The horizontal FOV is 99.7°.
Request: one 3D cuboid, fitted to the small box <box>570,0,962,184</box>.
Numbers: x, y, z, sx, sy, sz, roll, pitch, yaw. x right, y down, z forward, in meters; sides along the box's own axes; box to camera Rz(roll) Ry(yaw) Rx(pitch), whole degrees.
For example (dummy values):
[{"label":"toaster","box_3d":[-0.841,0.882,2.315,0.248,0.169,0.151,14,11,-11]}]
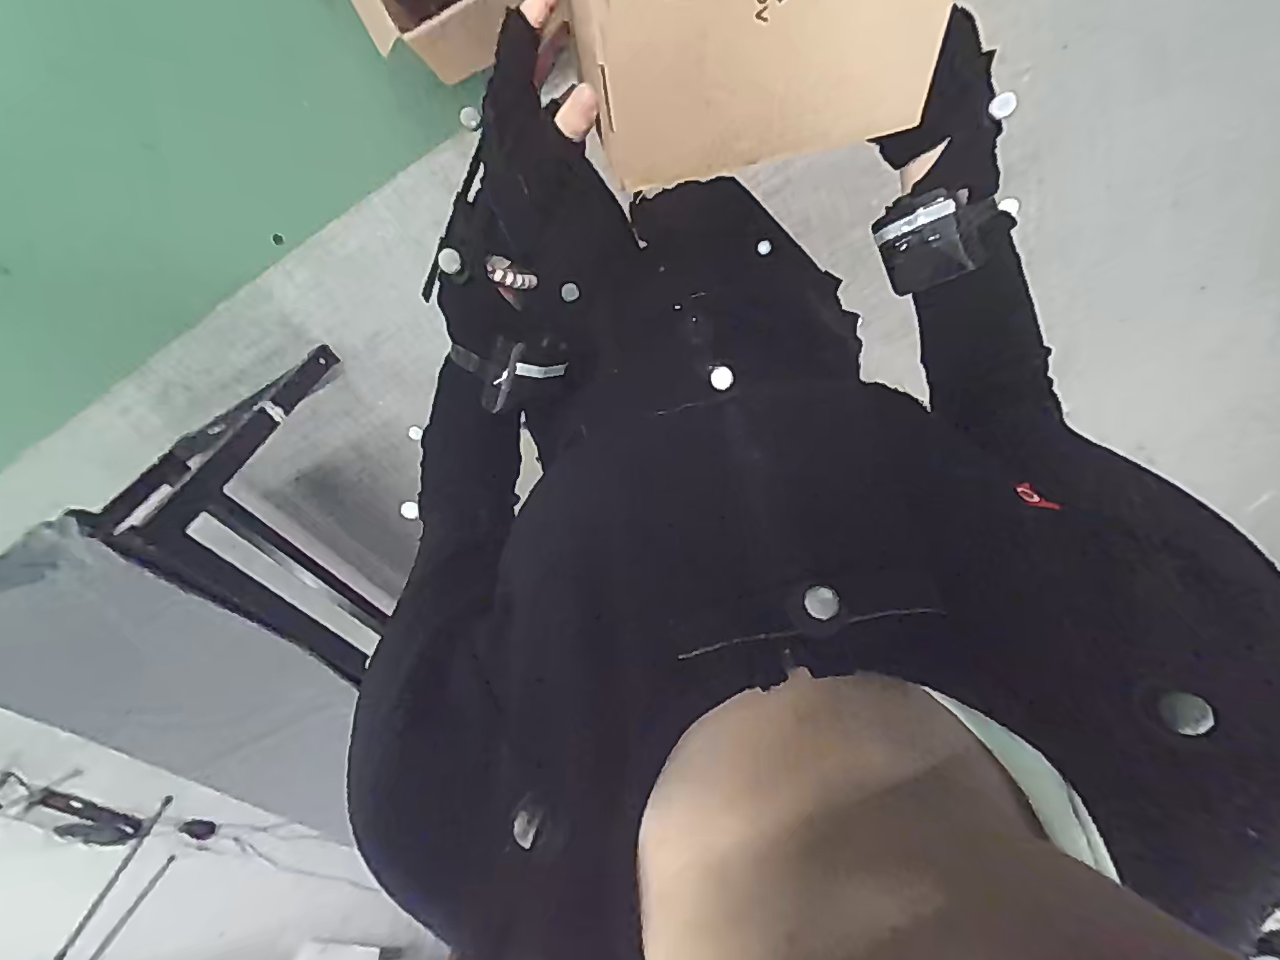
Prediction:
[{"label":"small box","box_3d":[0.052,-0.292,0.280,0.179,0.176,0.168,-13,144,-1]}]
